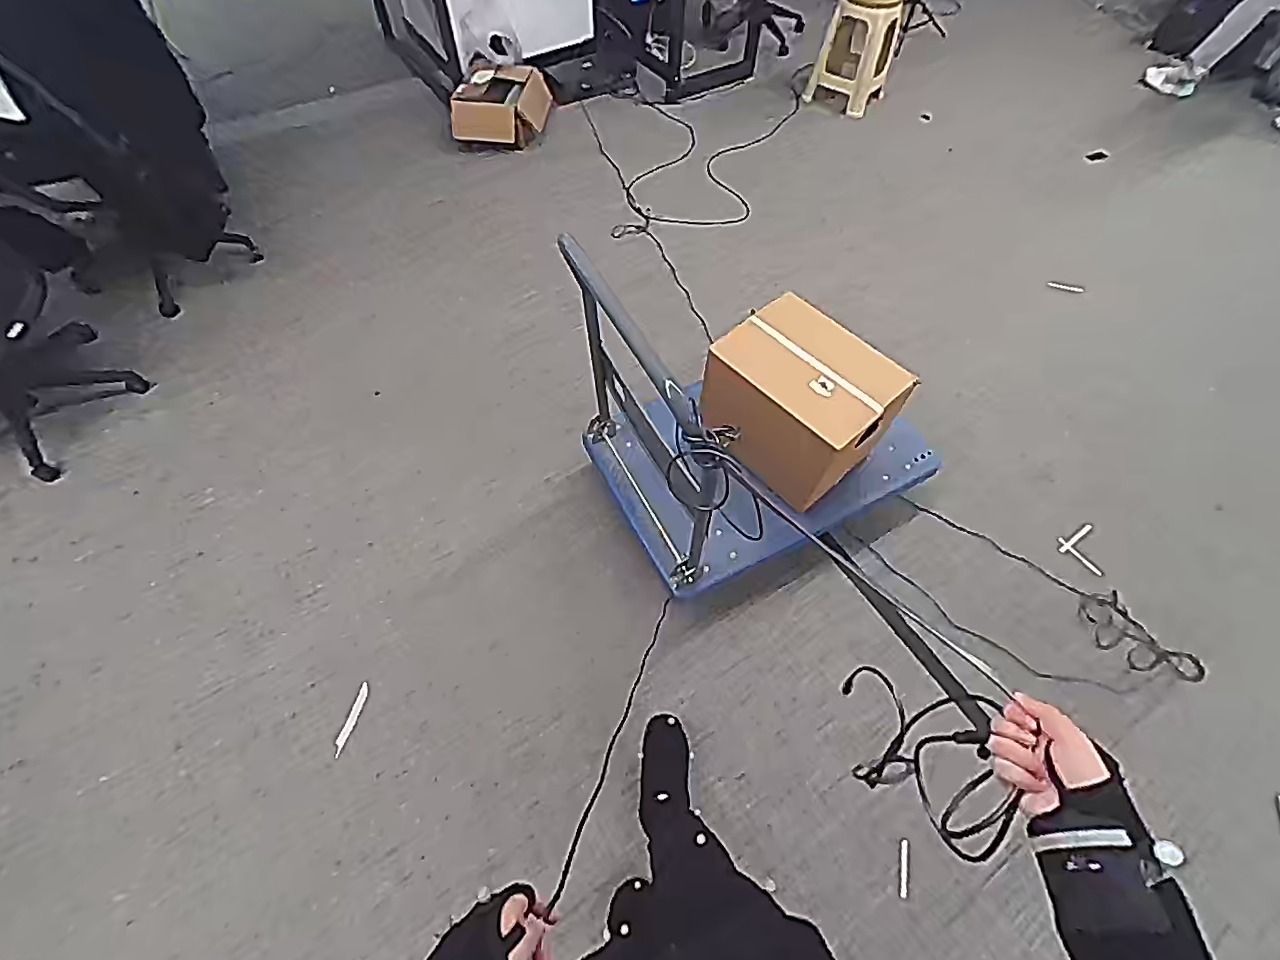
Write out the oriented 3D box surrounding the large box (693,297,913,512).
[{"bbox_3d":[0.399,-0.195,1.423,0.320,0.320,0.408,-38,68,-20],"label":"large box"}]
